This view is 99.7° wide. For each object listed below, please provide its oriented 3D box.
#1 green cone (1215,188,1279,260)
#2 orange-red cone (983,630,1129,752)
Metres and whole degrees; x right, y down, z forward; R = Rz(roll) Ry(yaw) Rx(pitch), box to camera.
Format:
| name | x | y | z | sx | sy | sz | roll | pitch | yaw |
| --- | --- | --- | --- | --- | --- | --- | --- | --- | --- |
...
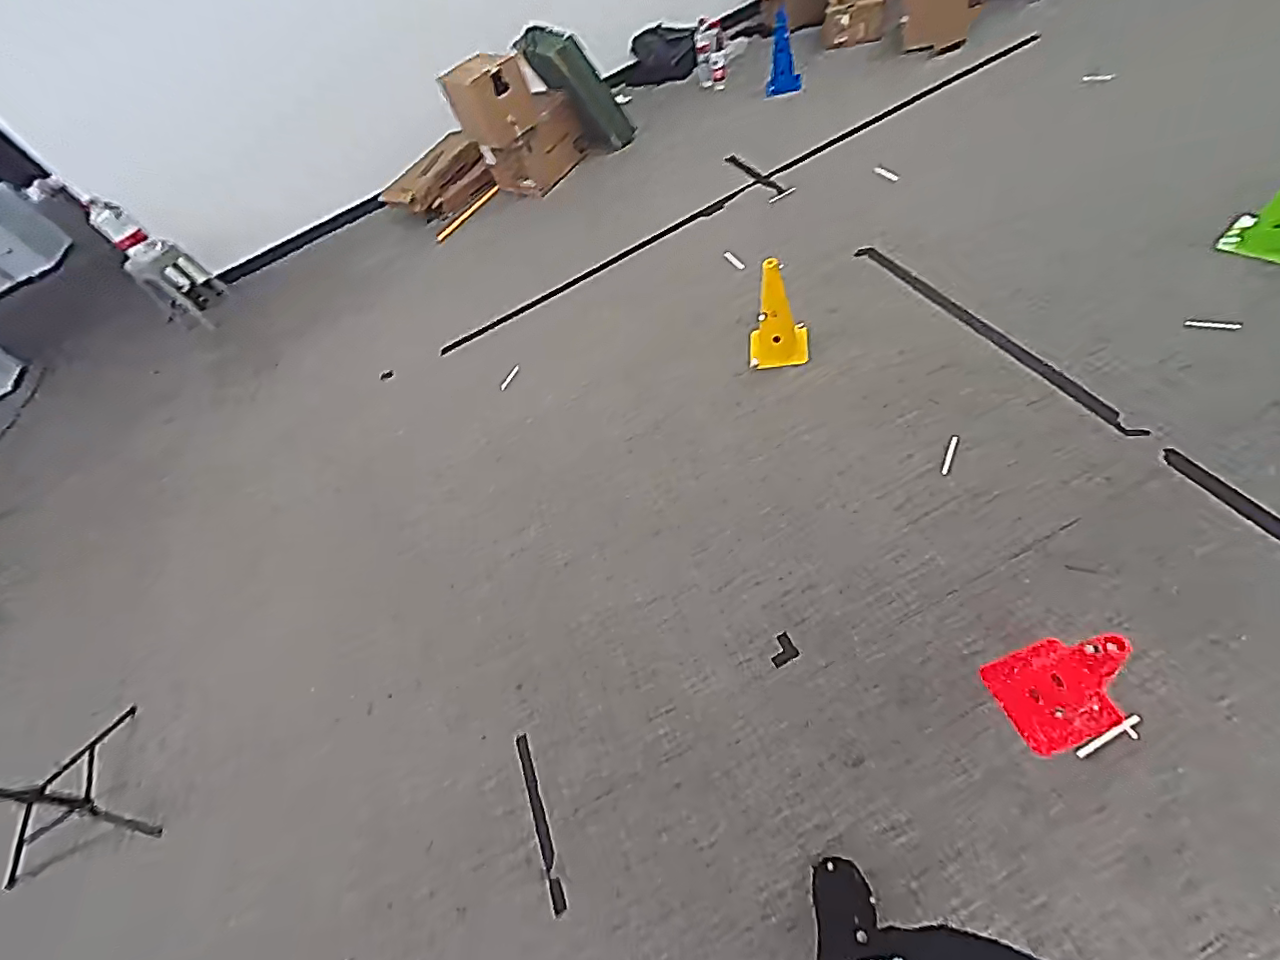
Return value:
| name | x | y | z | sx | sy | sz | roll | pitch | yaw |
| --- | --- | --- | --- | --- | --- | --- | --- | --- | --- |
| green cone | 1.897 | -0.851 | 1.539 | 0.200 | 0.368 | 0.202 | -42 | 54 | -12 |
| orange-red cone | 0.840 | 0.366 | 1.038 | 0.198 | 0.360 | 0.199 | -23 | 50 | 2 |
